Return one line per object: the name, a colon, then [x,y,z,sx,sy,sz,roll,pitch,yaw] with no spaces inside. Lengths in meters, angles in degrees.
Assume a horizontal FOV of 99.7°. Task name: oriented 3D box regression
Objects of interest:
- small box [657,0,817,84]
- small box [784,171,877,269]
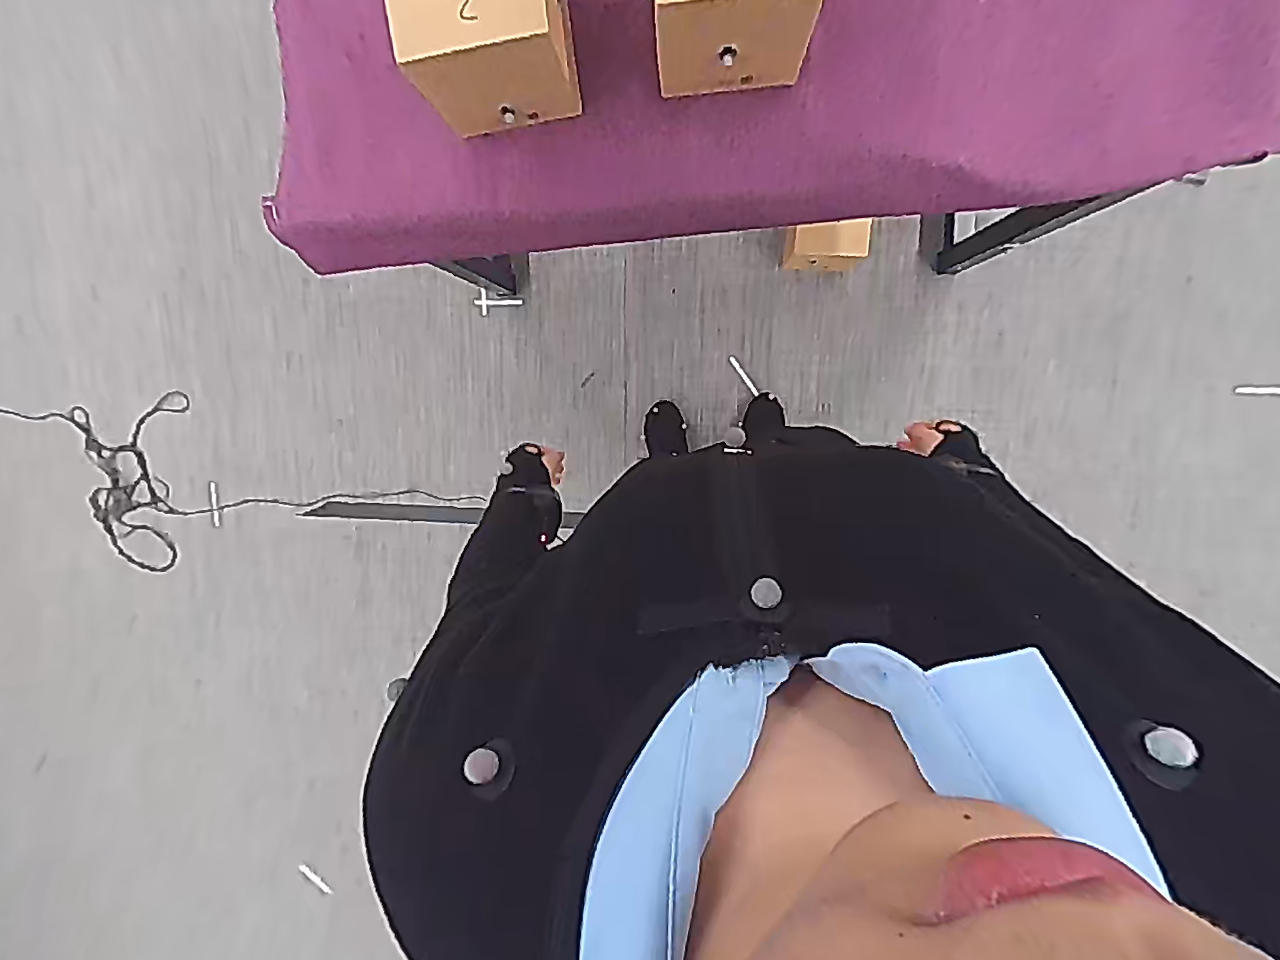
small box: [0.102,-0.563,0.583,0.168,0.176,0.179,-2,98,4]
small box: [0.444,-0.610,1.289,0.168,0.176,0.179,4,99,5]
